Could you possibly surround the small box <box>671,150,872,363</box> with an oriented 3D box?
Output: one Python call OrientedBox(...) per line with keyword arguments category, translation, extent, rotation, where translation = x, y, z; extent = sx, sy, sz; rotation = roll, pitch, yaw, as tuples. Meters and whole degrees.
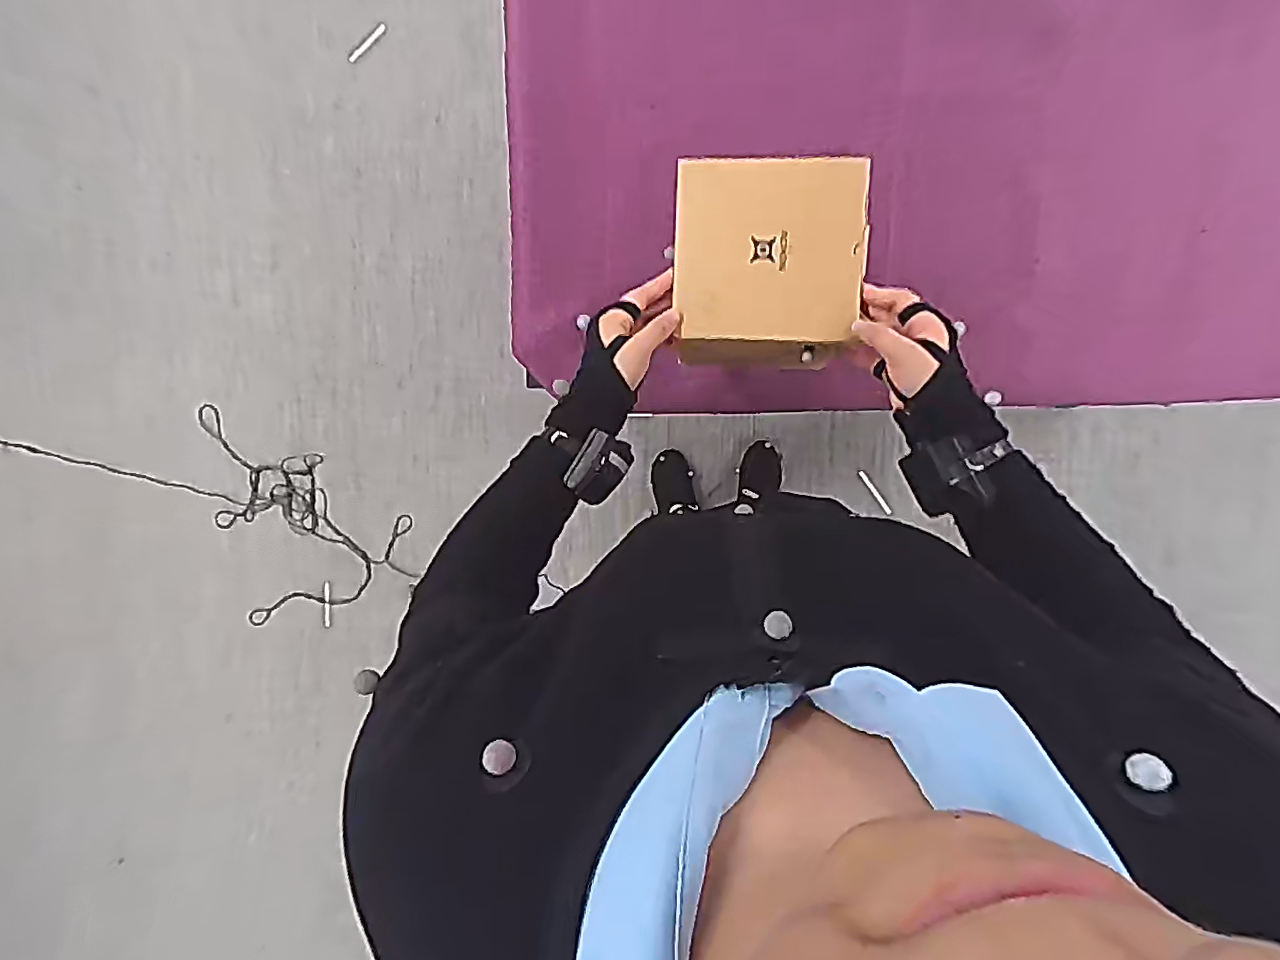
OrientedBox(category="small box", translation=(0.128, -0.222, 0.578), extent=(0.179, 0.176, 0.168), rotation=(3, 93, 5))
